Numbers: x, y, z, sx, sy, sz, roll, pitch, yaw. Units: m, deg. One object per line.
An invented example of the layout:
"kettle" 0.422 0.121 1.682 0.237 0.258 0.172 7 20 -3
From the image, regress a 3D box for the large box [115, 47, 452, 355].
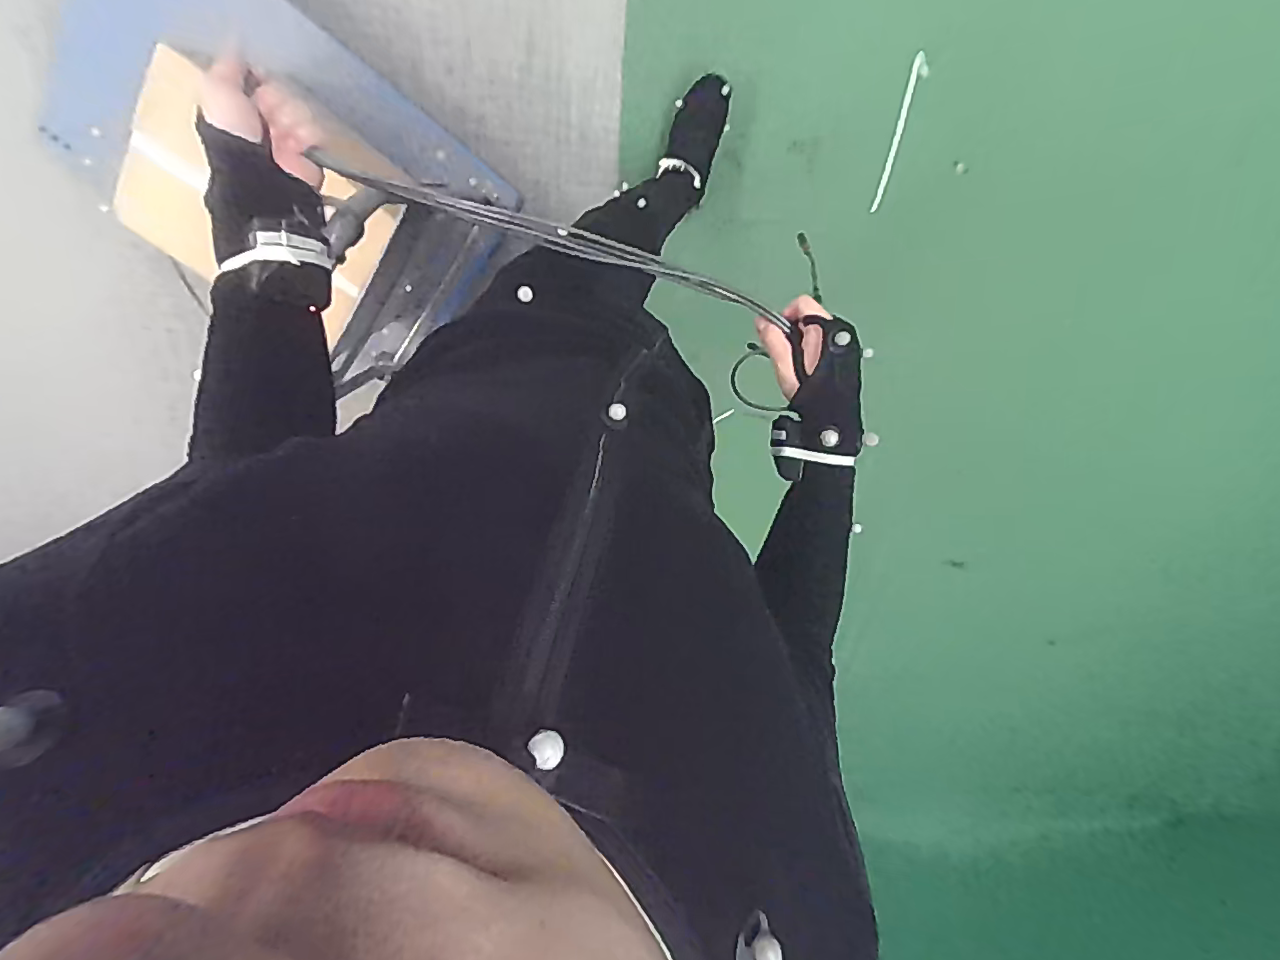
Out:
"large box" -0.658 -0.520 1.062 0.408 0.320 0.320 36 113 -17
